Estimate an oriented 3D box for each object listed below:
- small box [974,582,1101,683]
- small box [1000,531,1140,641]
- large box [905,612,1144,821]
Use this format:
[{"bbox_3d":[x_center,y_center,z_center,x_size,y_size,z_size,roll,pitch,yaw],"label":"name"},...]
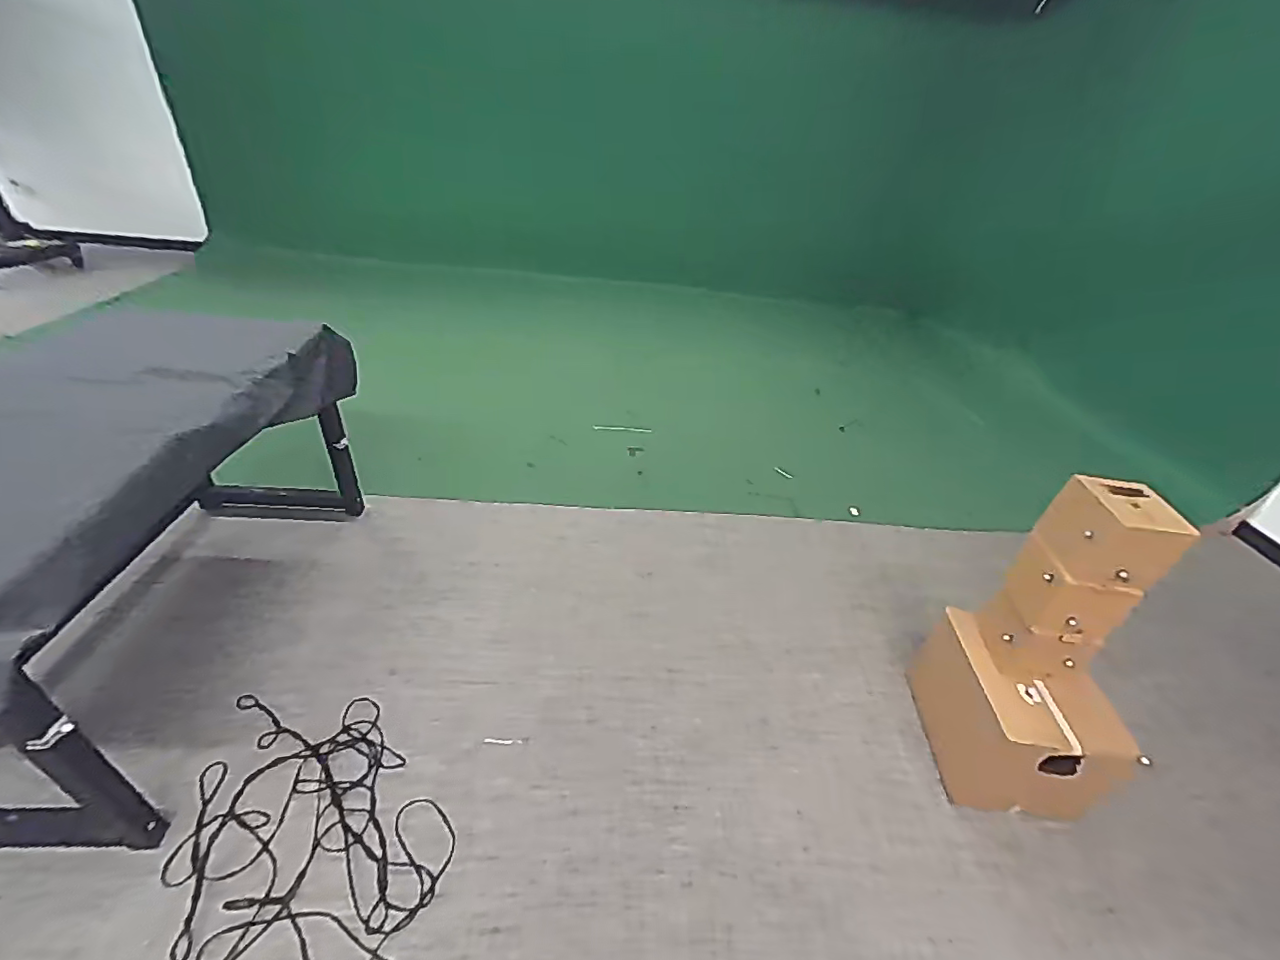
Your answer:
[{"bbox_3d":[0.997,0.389,1.376,0.168,0.176,0.179,8,34,0],"label":"small box"},{"bbox_3d":[1.006,0.252,1.288,0.168,0.176,0.179,9,36,2],"label":"small box"},{"bbox_3d":[0.982,0.626,1.459,0.320,0.320,0.408,6,36,1],"label":"large box"}]
